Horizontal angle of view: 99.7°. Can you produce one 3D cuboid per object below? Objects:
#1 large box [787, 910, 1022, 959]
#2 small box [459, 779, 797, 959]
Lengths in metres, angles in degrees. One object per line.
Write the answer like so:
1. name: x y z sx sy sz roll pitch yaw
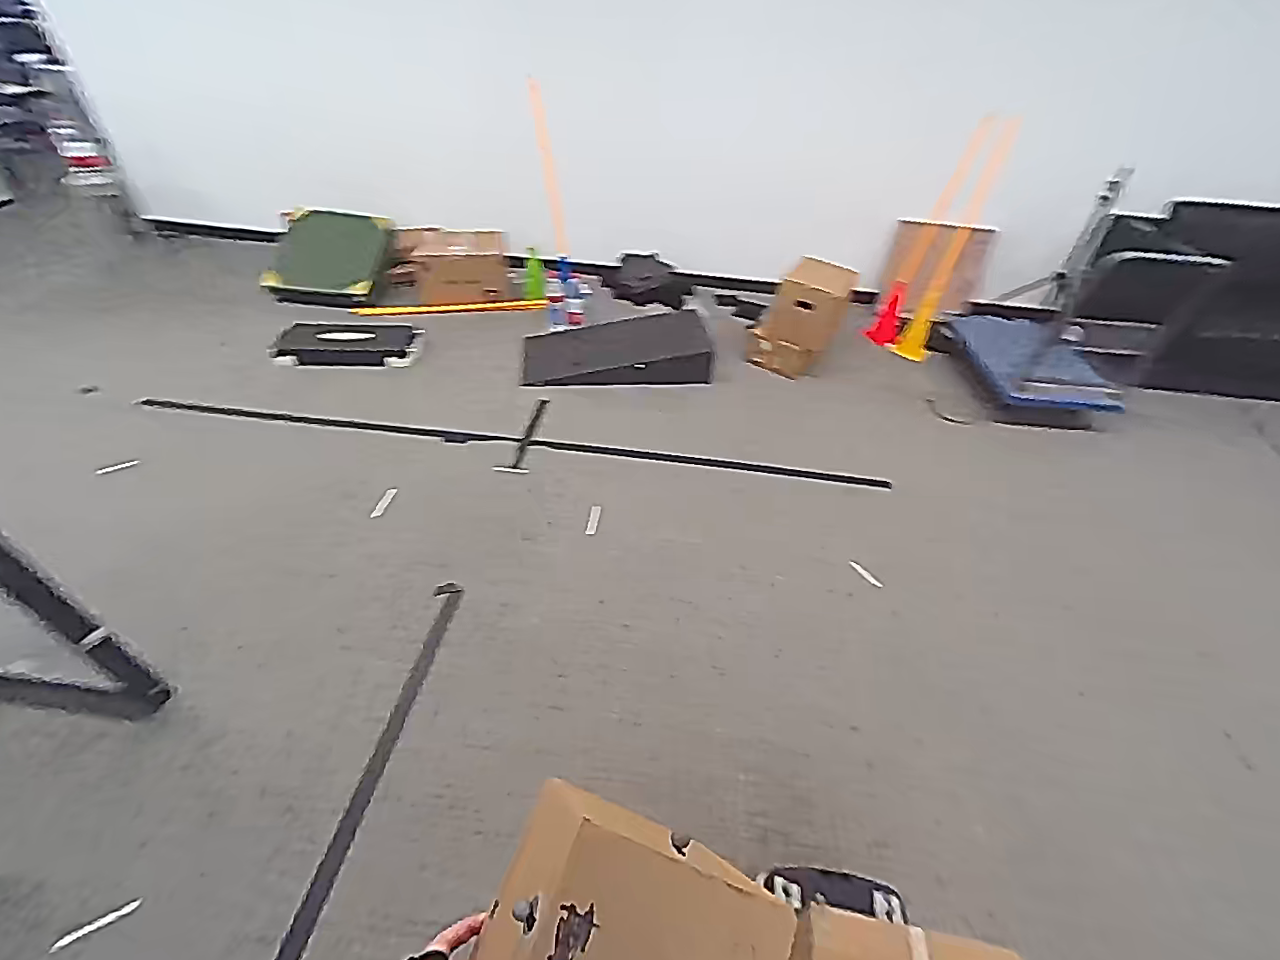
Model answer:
1. large box: 0.374 0.917 0.754 0.320 0.320 0.408 10 41 6
2. small box: -0.020 0.347 0.403 0.179 0.176 0.168 28 64 -8
